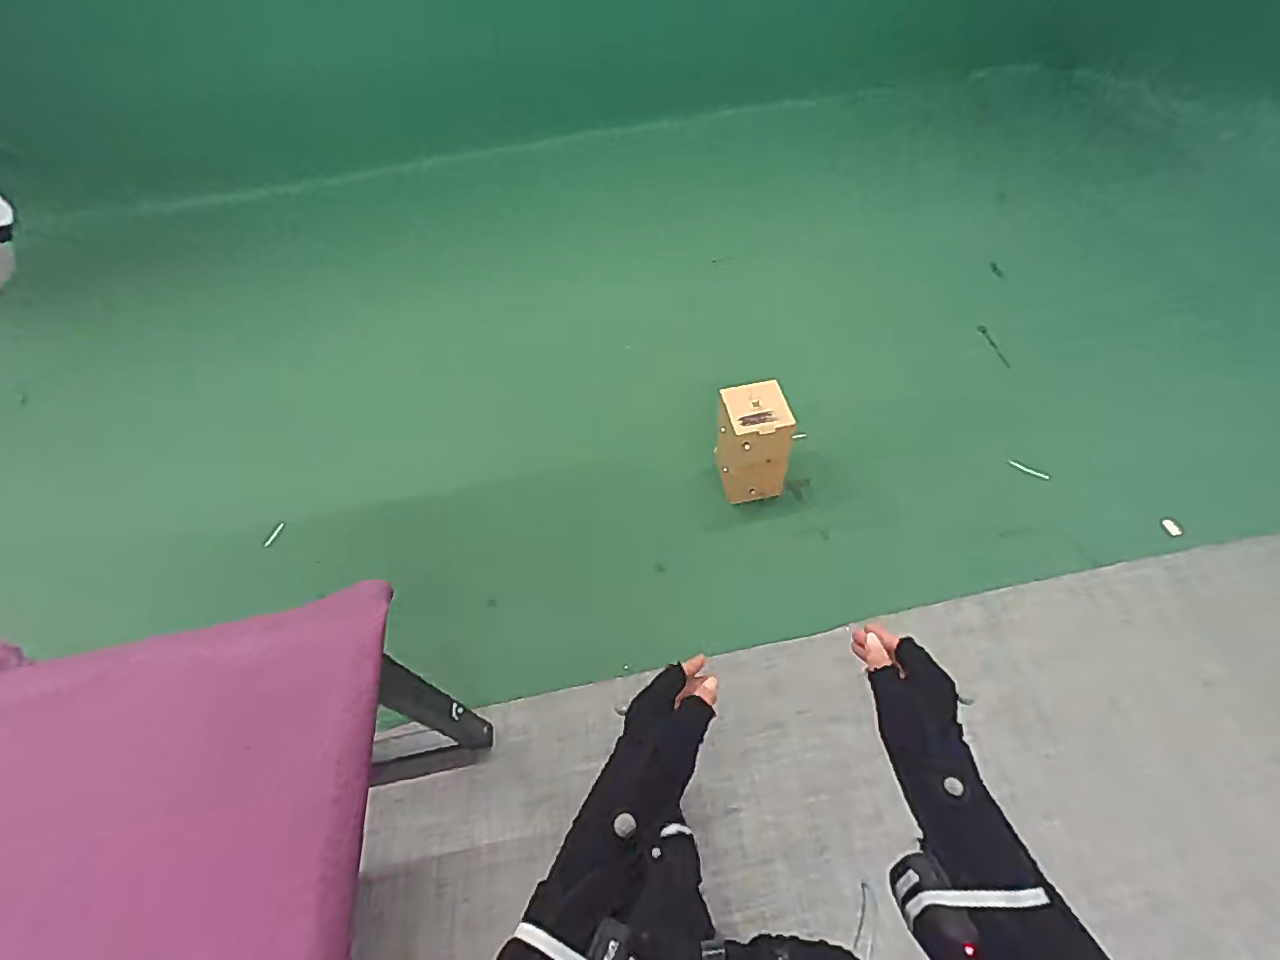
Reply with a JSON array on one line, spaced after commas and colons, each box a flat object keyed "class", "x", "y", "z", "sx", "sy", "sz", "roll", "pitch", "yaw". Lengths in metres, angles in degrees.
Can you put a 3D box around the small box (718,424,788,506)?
[{"class": "small box", "x": 0.344, "y": -0.044, "z": 1.680, "sx": 0.168, "sy": 0.176, "sz": 0.179, "roll": -11, "pitch": 55, "yaw": -2}]
